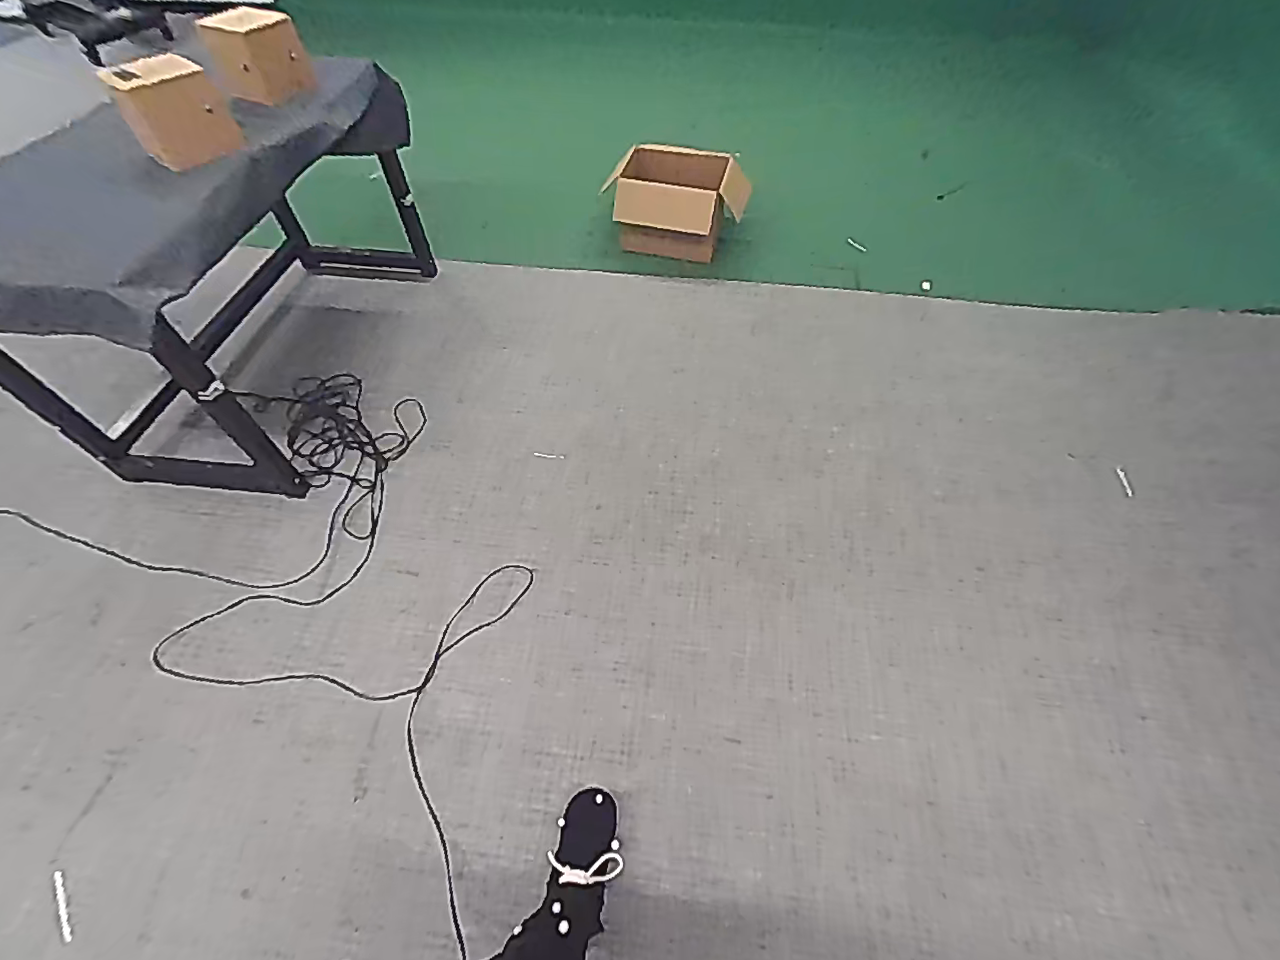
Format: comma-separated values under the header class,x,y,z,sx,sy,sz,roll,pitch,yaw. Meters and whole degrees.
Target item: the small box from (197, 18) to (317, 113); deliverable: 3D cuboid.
class,x,y,z,sx,sy,sz,roll,pitch,yaw
small box,-1.051,-1.147,1.501,0.179,0.176,0.168,20,55,16
